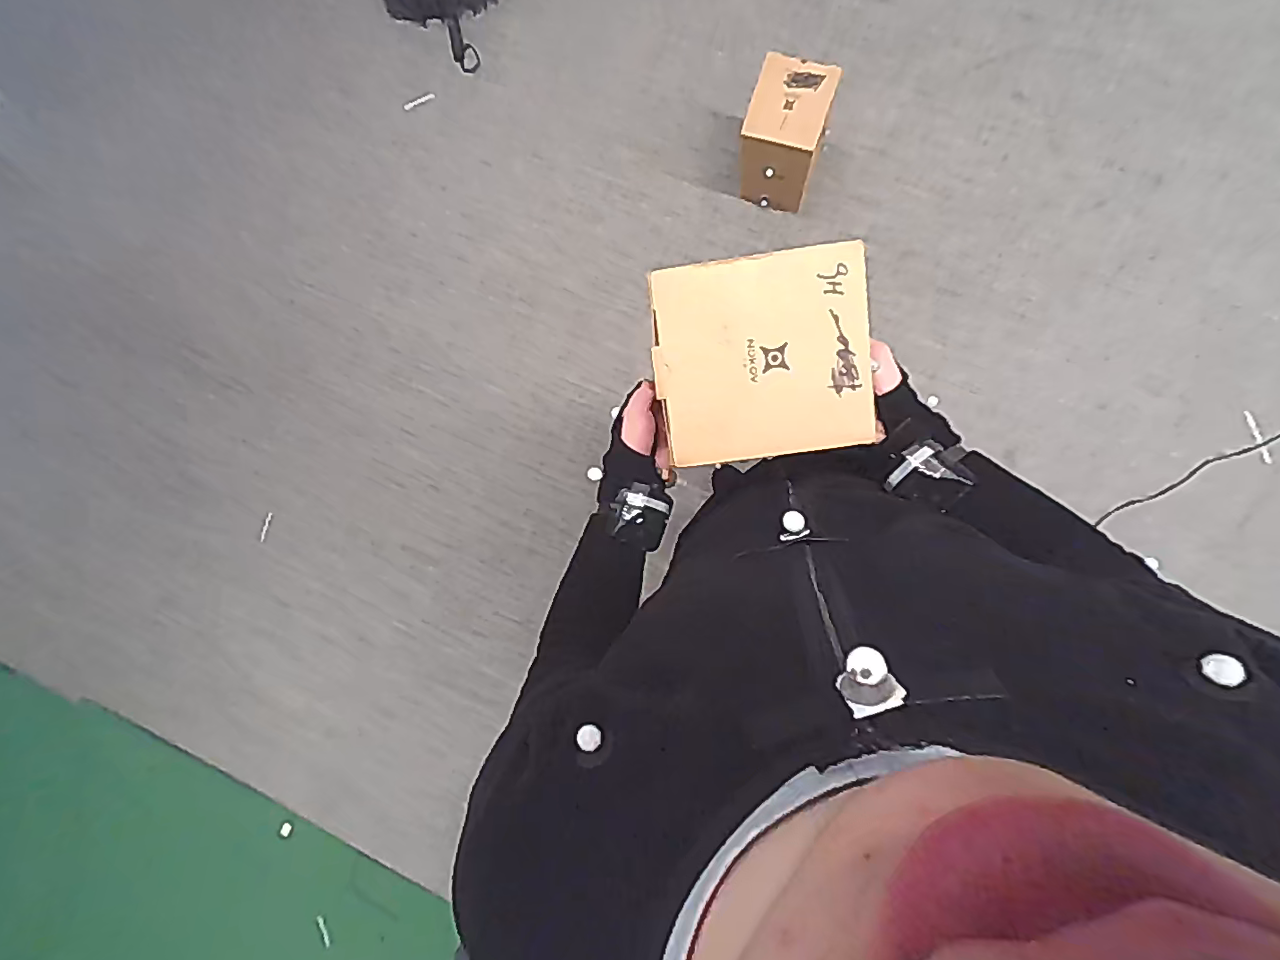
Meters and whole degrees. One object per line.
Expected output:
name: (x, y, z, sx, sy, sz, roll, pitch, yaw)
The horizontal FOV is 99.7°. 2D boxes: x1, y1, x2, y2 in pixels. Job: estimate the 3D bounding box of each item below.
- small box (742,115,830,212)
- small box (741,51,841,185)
small box: (0.365, -0.827, 1.388, 0.168, 0.176, 0.179, 20, 98, 9)
small box: (0.332, -0.811, 1.227, 0.168, 0.176, 0.179, 20, 97, 9)
